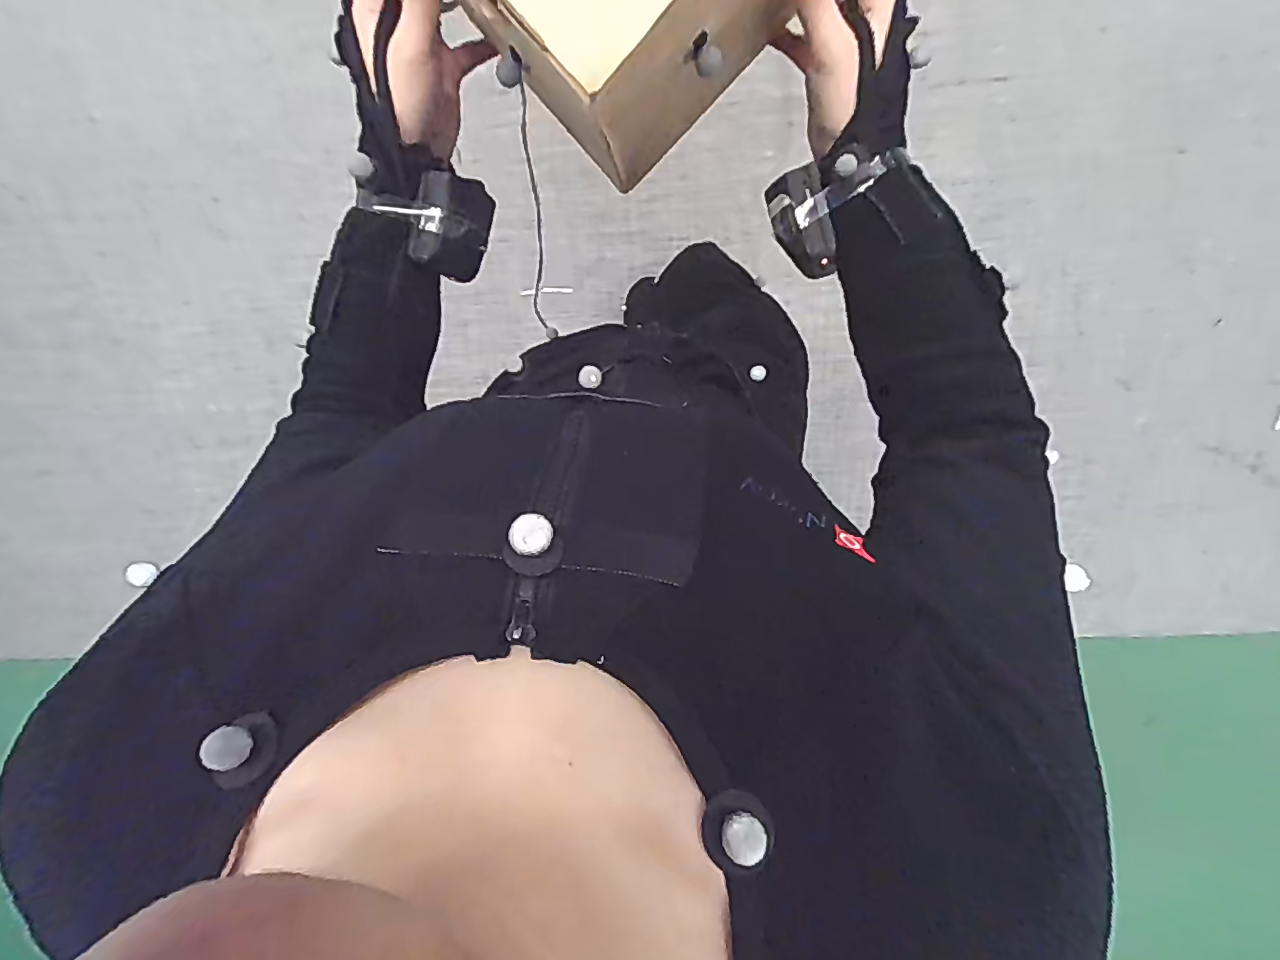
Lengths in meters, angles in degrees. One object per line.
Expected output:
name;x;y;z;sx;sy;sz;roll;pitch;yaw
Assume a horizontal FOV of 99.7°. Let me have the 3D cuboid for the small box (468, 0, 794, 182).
small box;-0.009;-0.312;0.308;0.179;0.176;0.168;-42;97;13
